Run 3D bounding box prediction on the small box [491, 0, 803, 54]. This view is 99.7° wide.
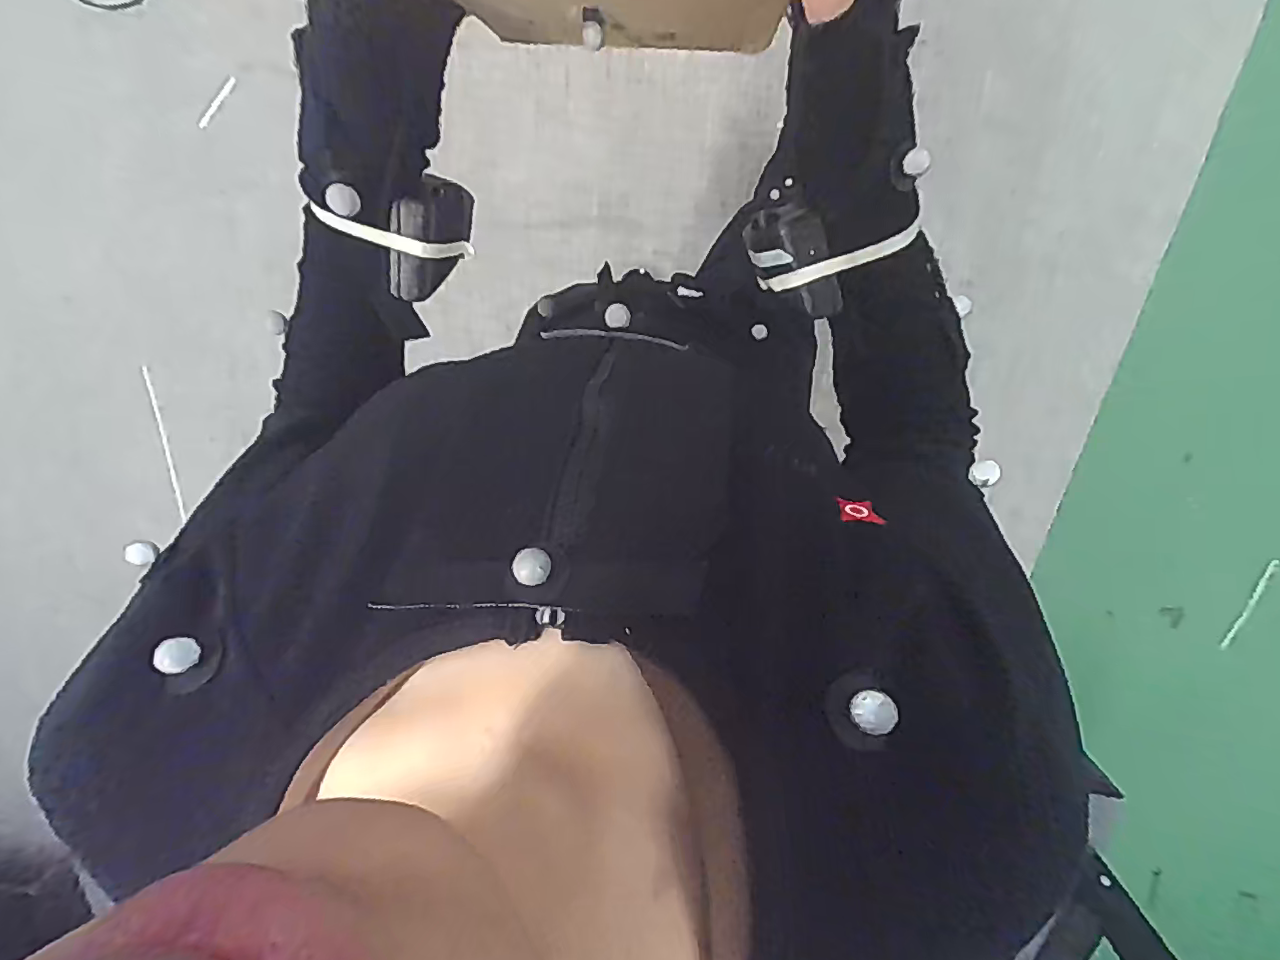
[{"bbox_3d":[-0.001,-0.302,0.216,0.168,0.176,0.179,5,118,4],"label":"small box"}]
